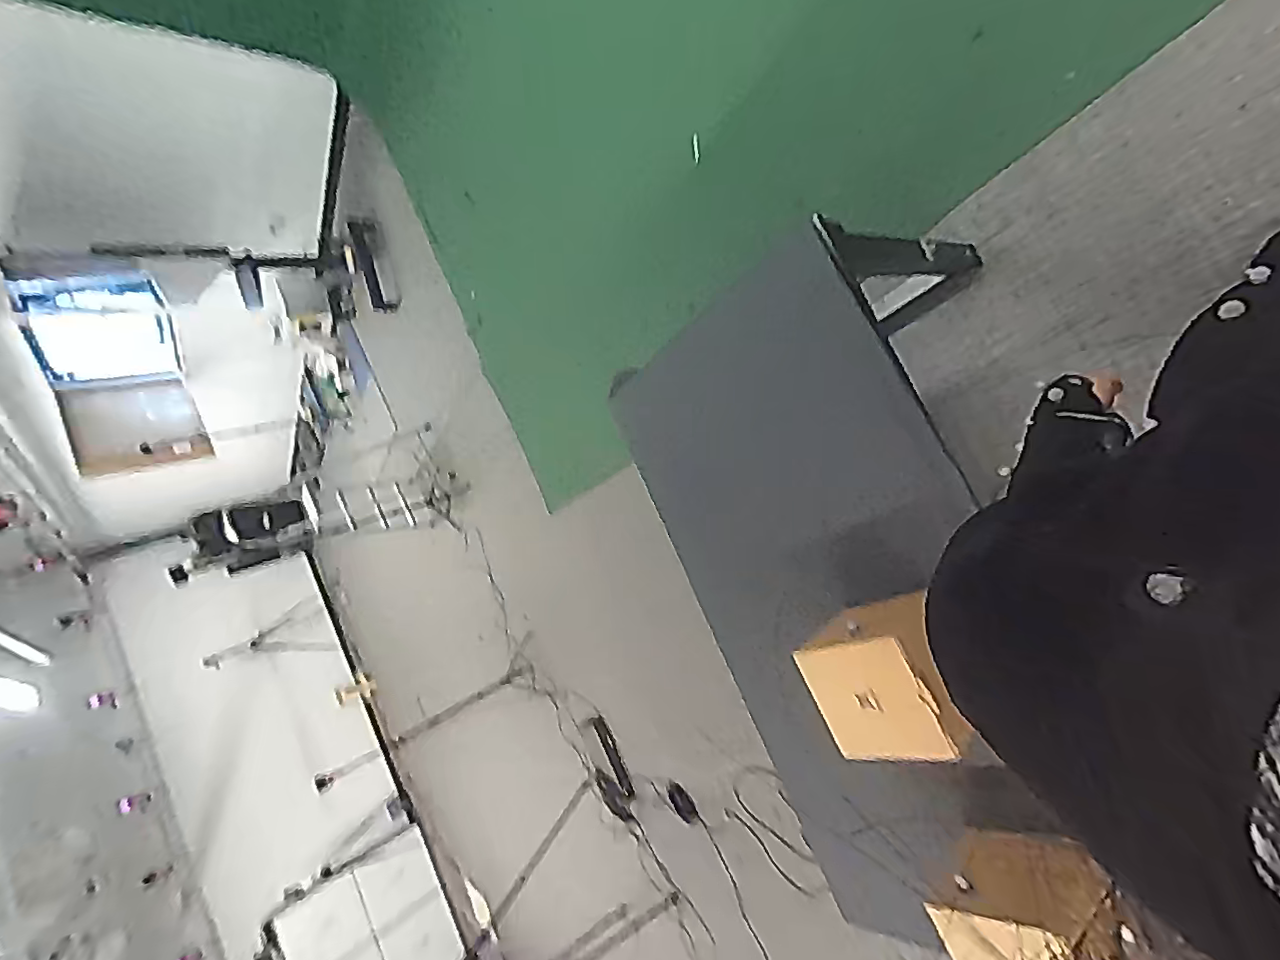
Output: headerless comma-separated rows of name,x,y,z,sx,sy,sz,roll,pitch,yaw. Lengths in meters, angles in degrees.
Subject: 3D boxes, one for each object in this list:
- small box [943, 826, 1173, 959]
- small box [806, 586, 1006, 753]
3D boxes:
small box,0.560,0.602,0.728,0.179,0.176,0.168,-37,77,49
small box,0.388,0.276,0.793,0.179,0.176,0.168,-36,77,49
